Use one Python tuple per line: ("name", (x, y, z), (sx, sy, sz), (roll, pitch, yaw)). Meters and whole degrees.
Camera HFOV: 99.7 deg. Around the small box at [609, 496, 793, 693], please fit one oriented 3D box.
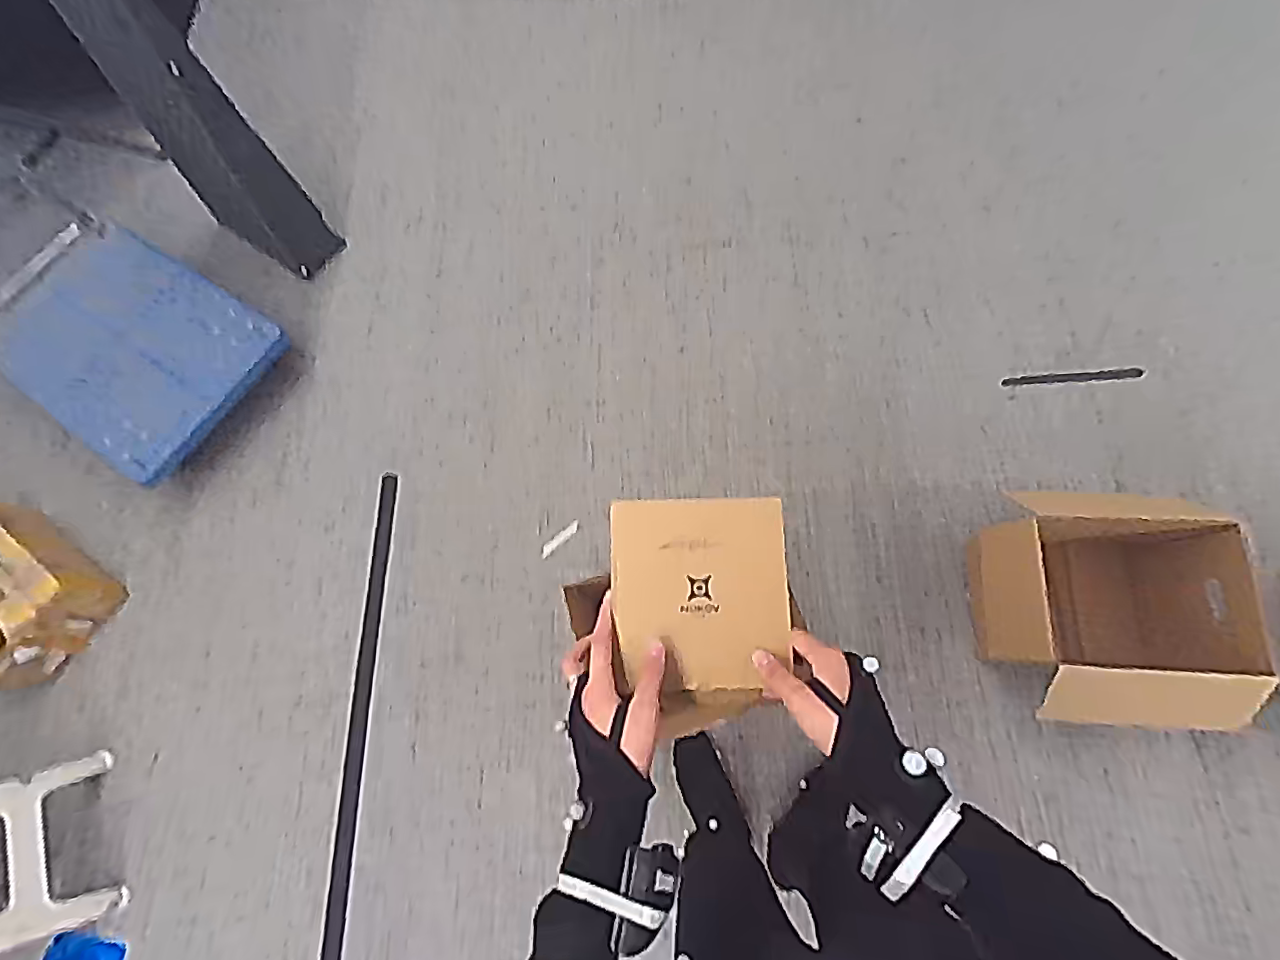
("small box", (0.052, 0.115, 0.568), (0.168, 0.176, 0.179), (-1, 79, -2))
